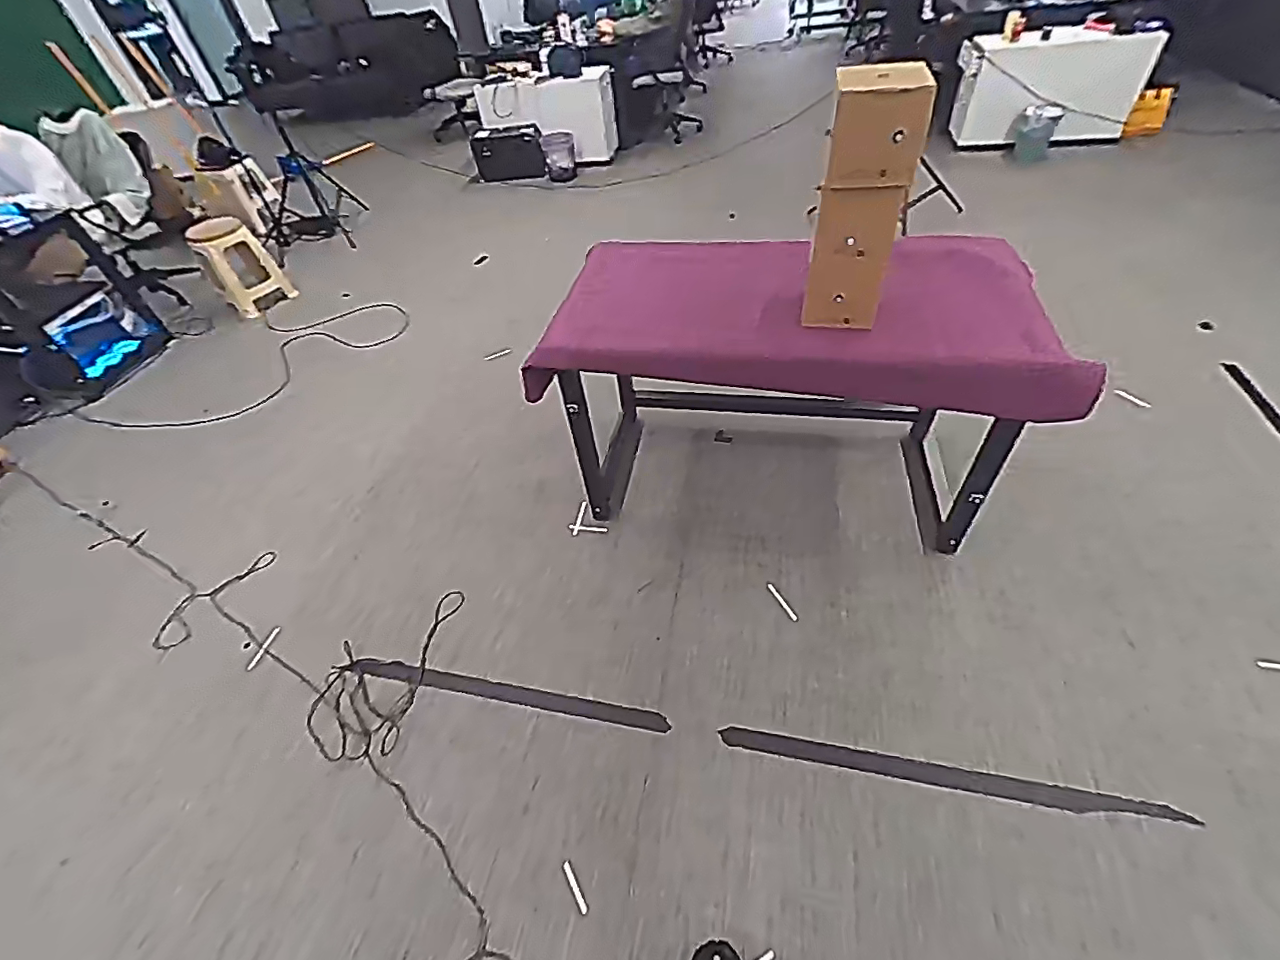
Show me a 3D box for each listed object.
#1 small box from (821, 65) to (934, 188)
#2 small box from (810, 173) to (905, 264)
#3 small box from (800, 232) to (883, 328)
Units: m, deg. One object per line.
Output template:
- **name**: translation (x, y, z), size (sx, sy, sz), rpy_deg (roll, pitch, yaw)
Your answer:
- **small box**: translation (0.459, -0.696, 1.071), size (0.168, 0.176, 0.179), rpy_deg (5, 48, 11)
- **small box**: translation (0.477, -0.602, 1.205), size (0.168, 0.176, 0.179), rpy_deg (7, 49, 14)
- **small box**: translation (0.489, -0.489, 1.323), size (0.168, 0.176, 0.179), rpy_deg (7, 48, 13)
